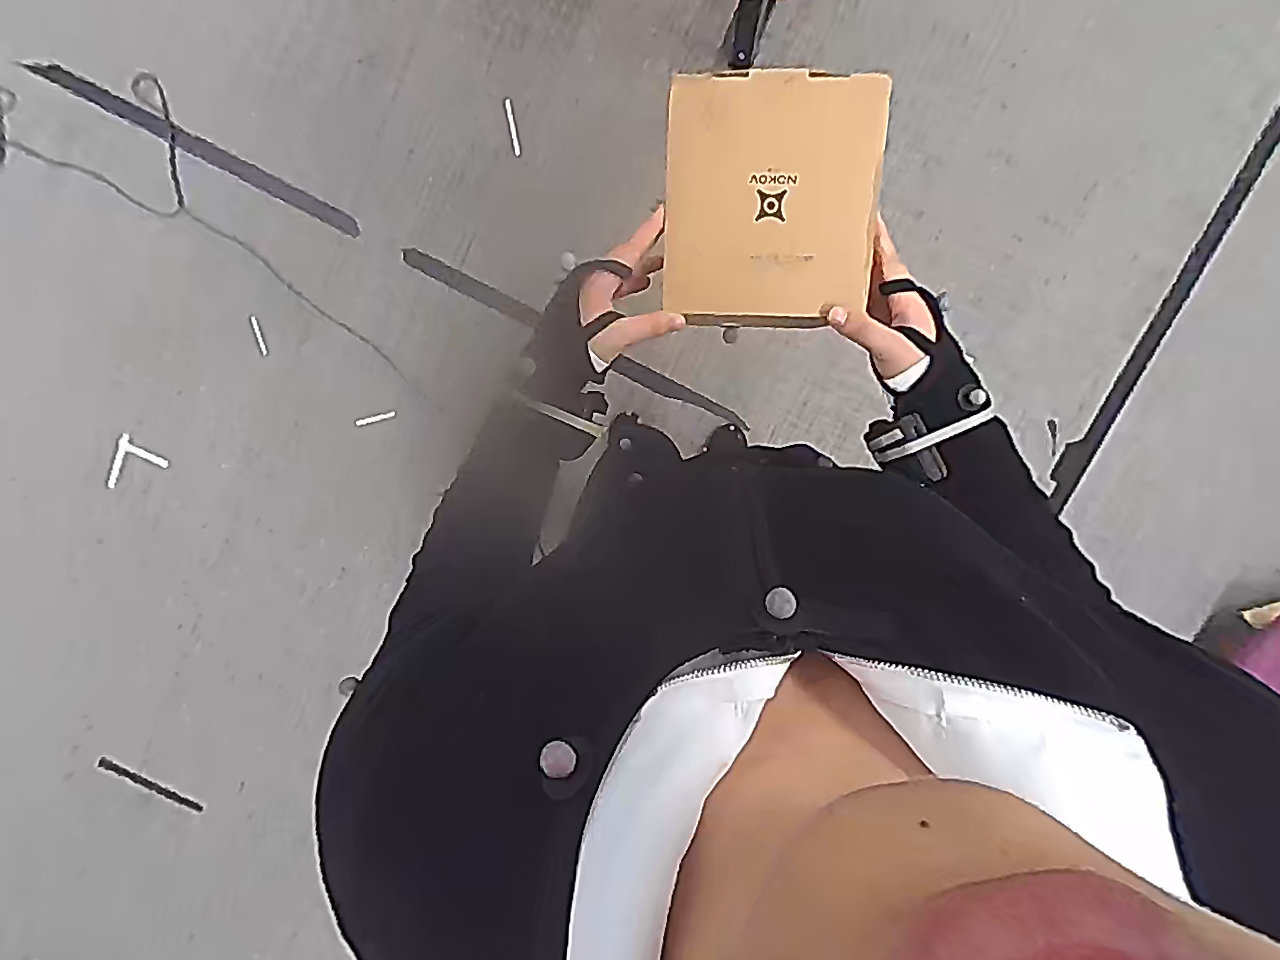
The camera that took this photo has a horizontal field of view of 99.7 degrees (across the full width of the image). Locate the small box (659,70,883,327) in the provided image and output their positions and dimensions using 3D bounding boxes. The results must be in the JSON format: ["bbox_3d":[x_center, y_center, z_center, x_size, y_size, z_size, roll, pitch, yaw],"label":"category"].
[{"bbox_3d":[0.103,-0.240,0.503,0.168,0.176,0.179,2,103,3],"label":"small box"}]
